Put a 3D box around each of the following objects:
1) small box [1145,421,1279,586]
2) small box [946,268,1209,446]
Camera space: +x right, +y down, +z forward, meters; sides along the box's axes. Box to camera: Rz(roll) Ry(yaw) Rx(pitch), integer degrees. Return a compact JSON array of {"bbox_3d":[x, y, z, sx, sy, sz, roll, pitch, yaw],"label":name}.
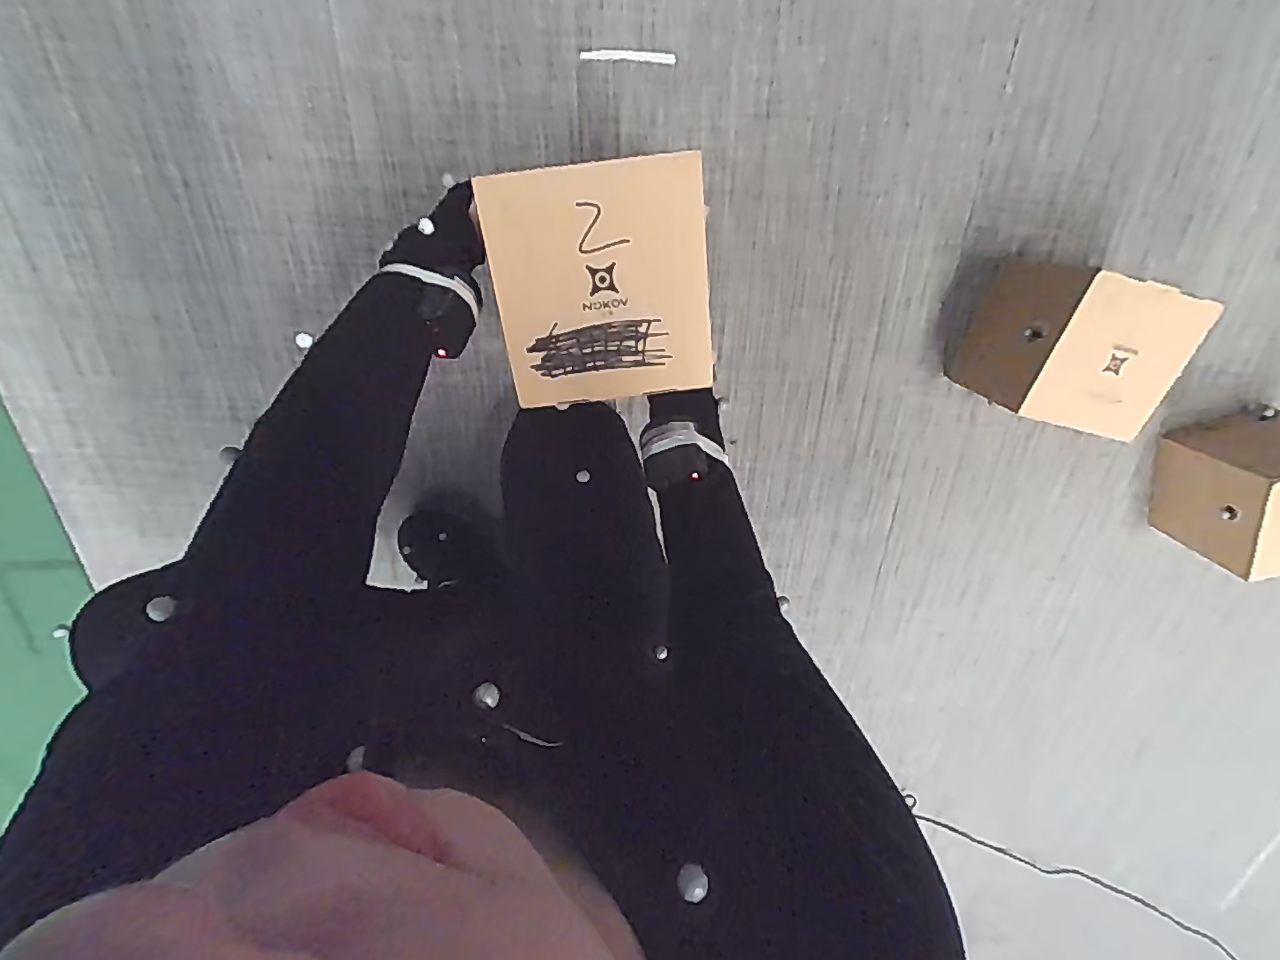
[{"bbox_3d":[0.920,0.025,0.814,0.168,0.176,0.179,-16,115,6],"label":"small box"},{"bbox_3d":[0.546,-0.169,0.709,0.168,0.176,0.179,13,113,-7],"label":"small box"}]
